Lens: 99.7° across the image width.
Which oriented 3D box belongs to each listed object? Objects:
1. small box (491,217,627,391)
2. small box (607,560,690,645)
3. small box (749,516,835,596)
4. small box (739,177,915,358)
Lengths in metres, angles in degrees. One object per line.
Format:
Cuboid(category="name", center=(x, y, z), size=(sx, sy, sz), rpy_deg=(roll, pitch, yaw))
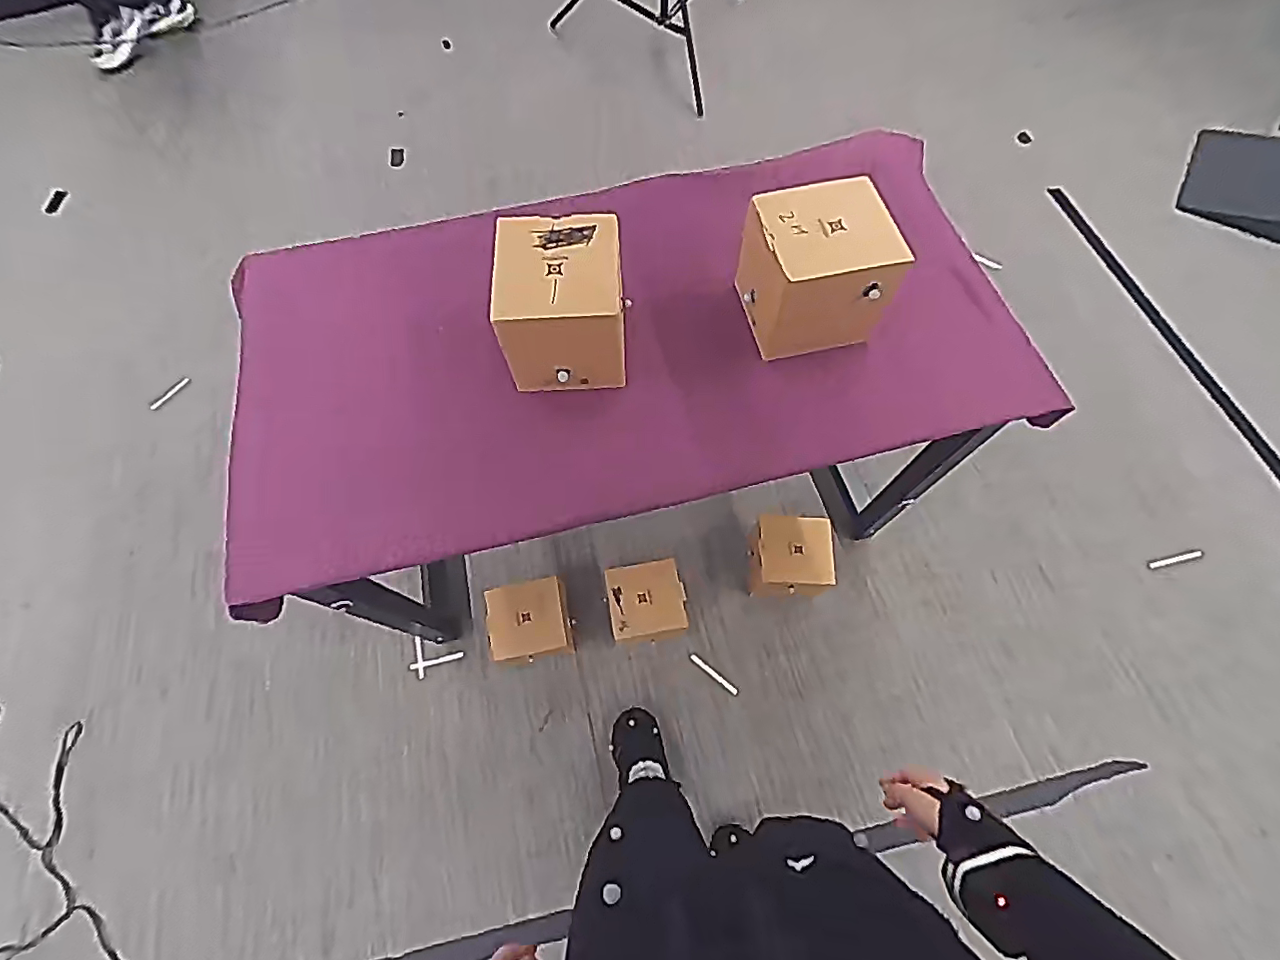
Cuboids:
Cuboid(category="small box", center=(-0.107, -0.248, 0.781), size=(0.168, 0.176, 0.179), rpy_deg=(-2, 67, 1))
Cuboid(category="small box", center=(0.017, 0.306, 1.335), size=(0.179, 0.176, 0.168), rpy_deg=(-9, 67, -3))
Cuboid(category="small box", center=(0.379, 0.198, 1.373), size=(0.179, 0.176, 0.168), rpy_deg=(2, 67, 3))
Cuboid(category="small box", center=(0.259, -0.304, 0.796), size=(0.179, 0.176, 0.168), rpy_deg=(-12, 66, -3))
